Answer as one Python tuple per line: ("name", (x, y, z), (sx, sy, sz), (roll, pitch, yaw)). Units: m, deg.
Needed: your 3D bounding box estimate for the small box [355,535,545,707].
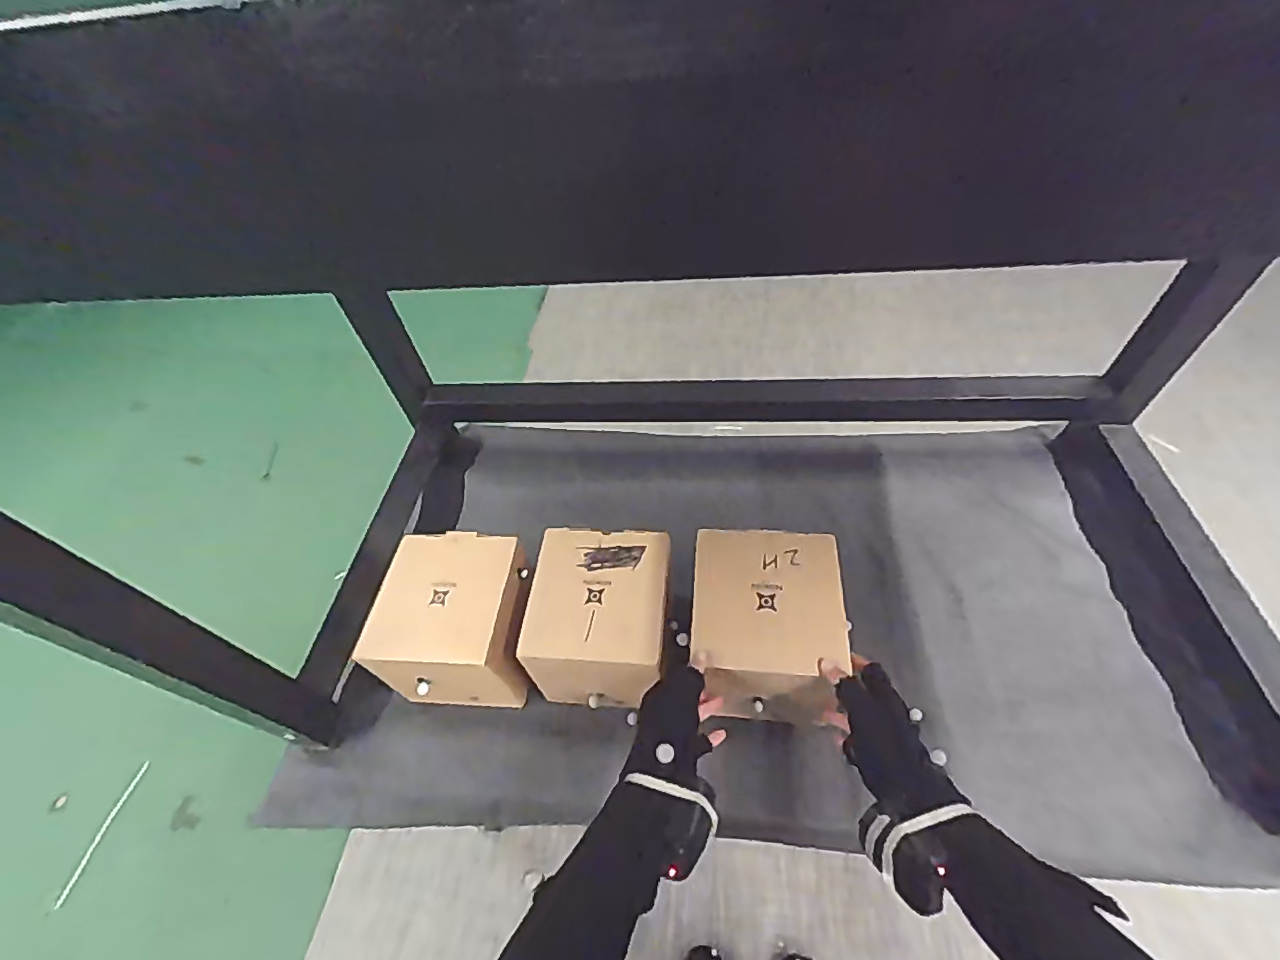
("small box", (-0.238, 0.193, 0.732), (0.168, 0.176, 0.179), (0, 50, 7))
